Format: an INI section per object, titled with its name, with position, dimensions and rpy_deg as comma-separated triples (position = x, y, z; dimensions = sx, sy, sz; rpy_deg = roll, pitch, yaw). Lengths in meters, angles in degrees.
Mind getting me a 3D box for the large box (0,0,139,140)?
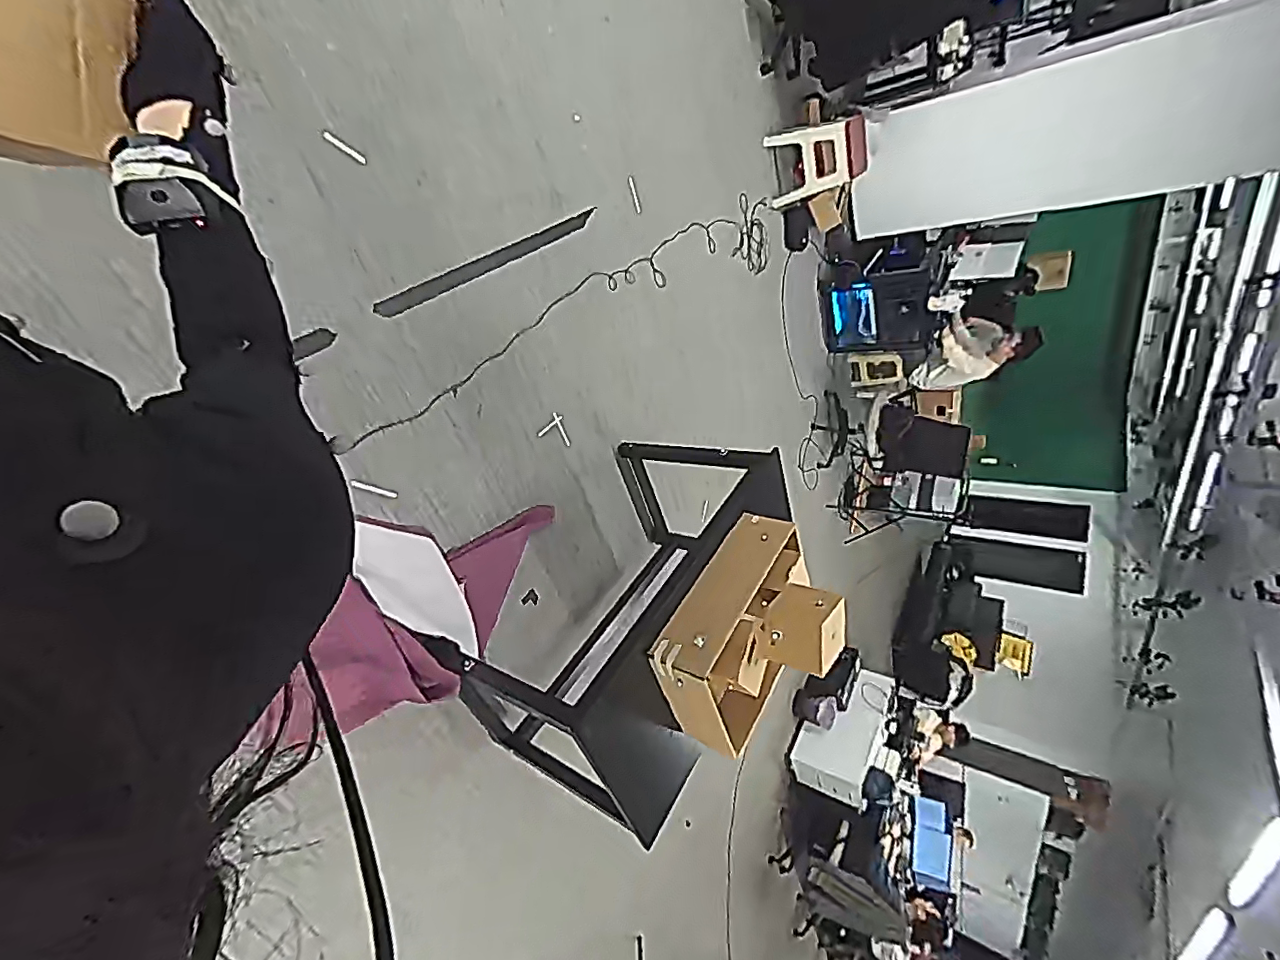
[large box]
position = -0.639, -0.451, 0.331
dimensions = 0.408, 0.320, 0.320
rpy_deg = -16, 122, -58
